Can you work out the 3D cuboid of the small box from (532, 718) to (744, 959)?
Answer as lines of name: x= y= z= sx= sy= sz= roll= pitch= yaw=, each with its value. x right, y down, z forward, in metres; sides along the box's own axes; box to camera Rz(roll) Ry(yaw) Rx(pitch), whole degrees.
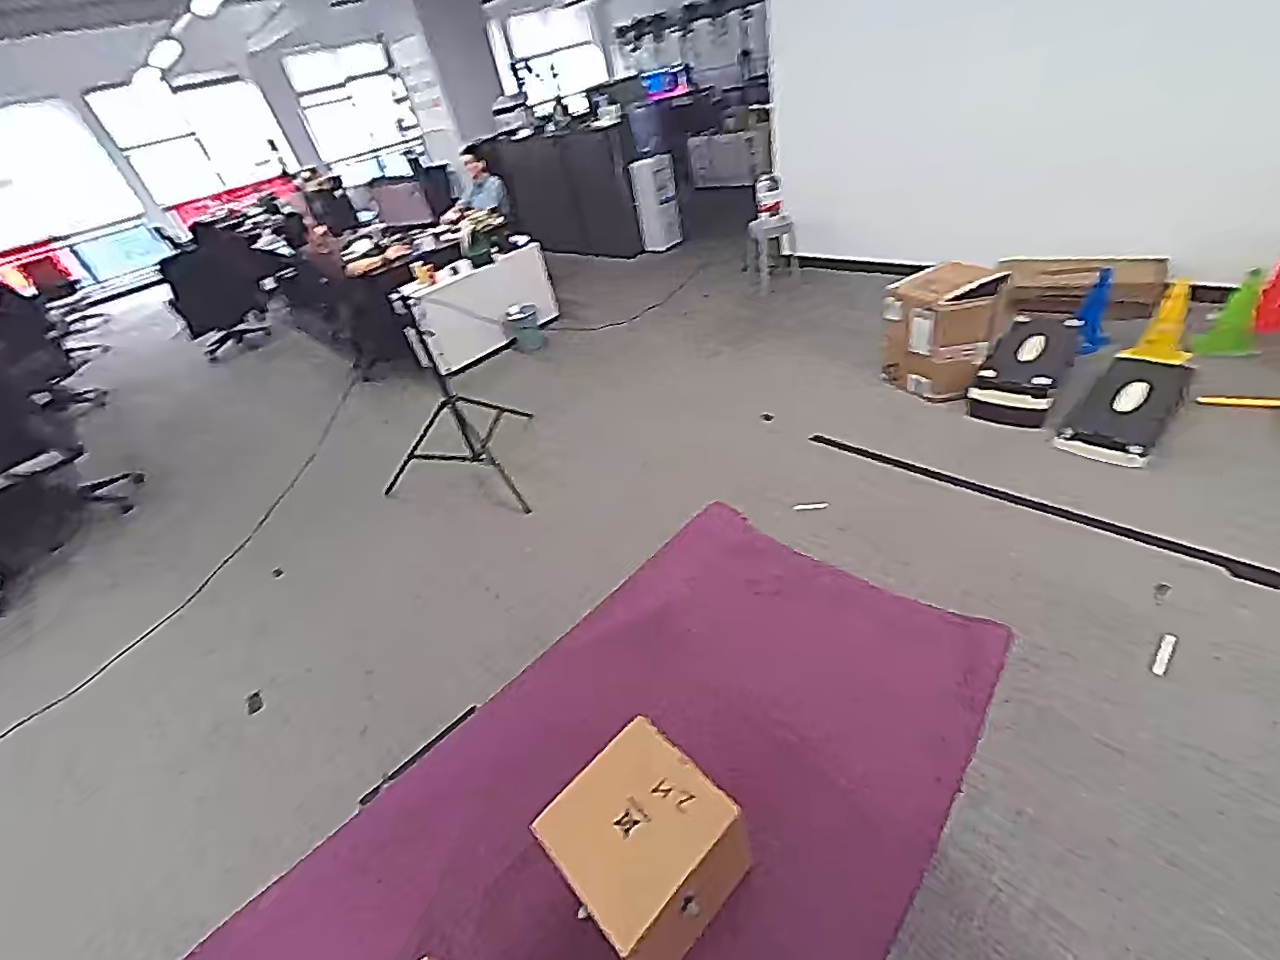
small box: x=0.008 y=0.435 z=0.639 sx=0.179 sy=0.176 sz=0.168 roll=-36 pitch=42 yaw=-27
